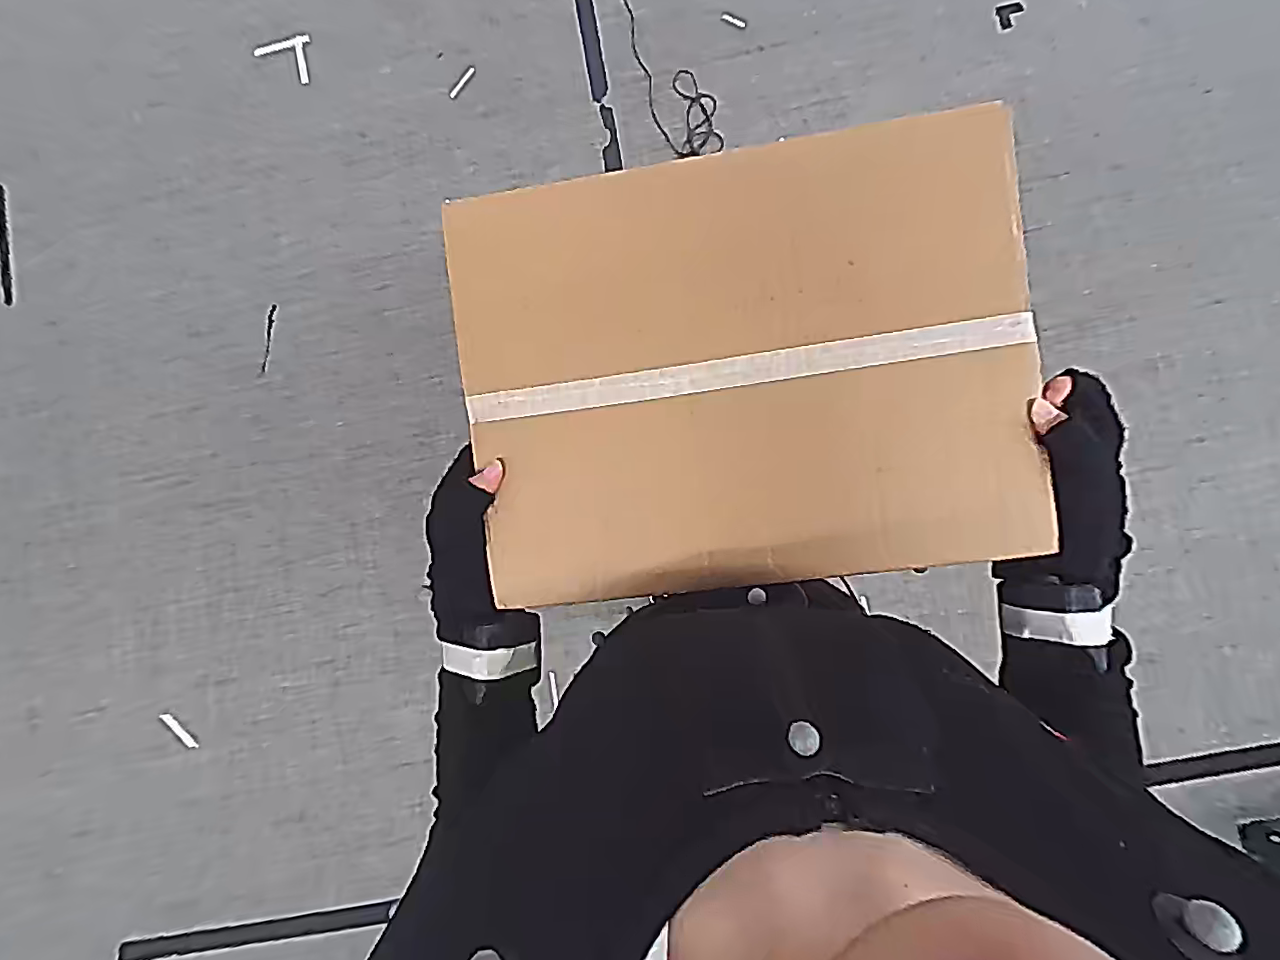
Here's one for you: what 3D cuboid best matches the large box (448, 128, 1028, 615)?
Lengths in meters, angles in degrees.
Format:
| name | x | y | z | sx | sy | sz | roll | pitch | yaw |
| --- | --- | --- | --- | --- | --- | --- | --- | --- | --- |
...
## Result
| name | x | y | z | sx | sy | sz | roll | pitch | yaw |
| --- | --- | --- | --- | --- | --- | --- | --- | --- | --- |
| large box | 0.081 | -0.078 | 0.552 | 0.408 | 0.320 | 0.320 | -8 | 90 | 6 |
